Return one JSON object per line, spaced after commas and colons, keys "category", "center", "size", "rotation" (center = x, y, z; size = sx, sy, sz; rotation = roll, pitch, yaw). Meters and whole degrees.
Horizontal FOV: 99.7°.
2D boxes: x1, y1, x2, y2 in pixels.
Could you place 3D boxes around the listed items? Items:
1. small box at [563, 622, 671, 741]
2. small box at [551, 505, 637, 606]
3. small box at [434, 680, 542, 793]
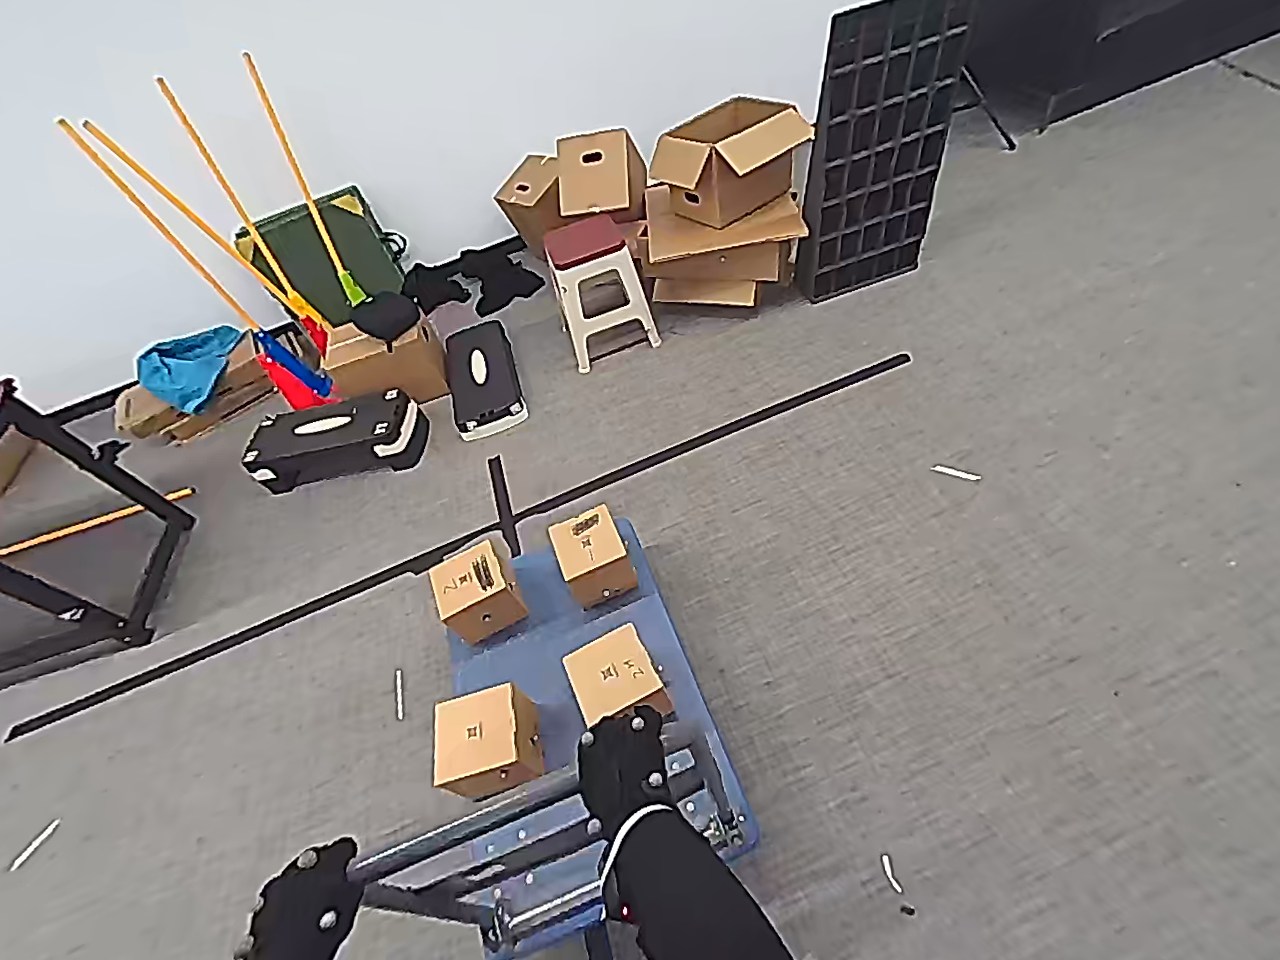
{"category": "small box", "center": [-0.048, 0.457, 1.215], "size": [0.179, 0.176, 0.168], "rotation": [-26, 51, -7]}
{"category": "small box", "center": [-0.120, 0.202, 1.437], "size": [0.168, 0.176, 0.179], "rotation": [-23, 51, -4]}
{"category": "small box", "center": [-0.332, 0.571, 1.196], "size": [0.179, 0.176, 0.168], "rotation": [-16, 50, -1]}
